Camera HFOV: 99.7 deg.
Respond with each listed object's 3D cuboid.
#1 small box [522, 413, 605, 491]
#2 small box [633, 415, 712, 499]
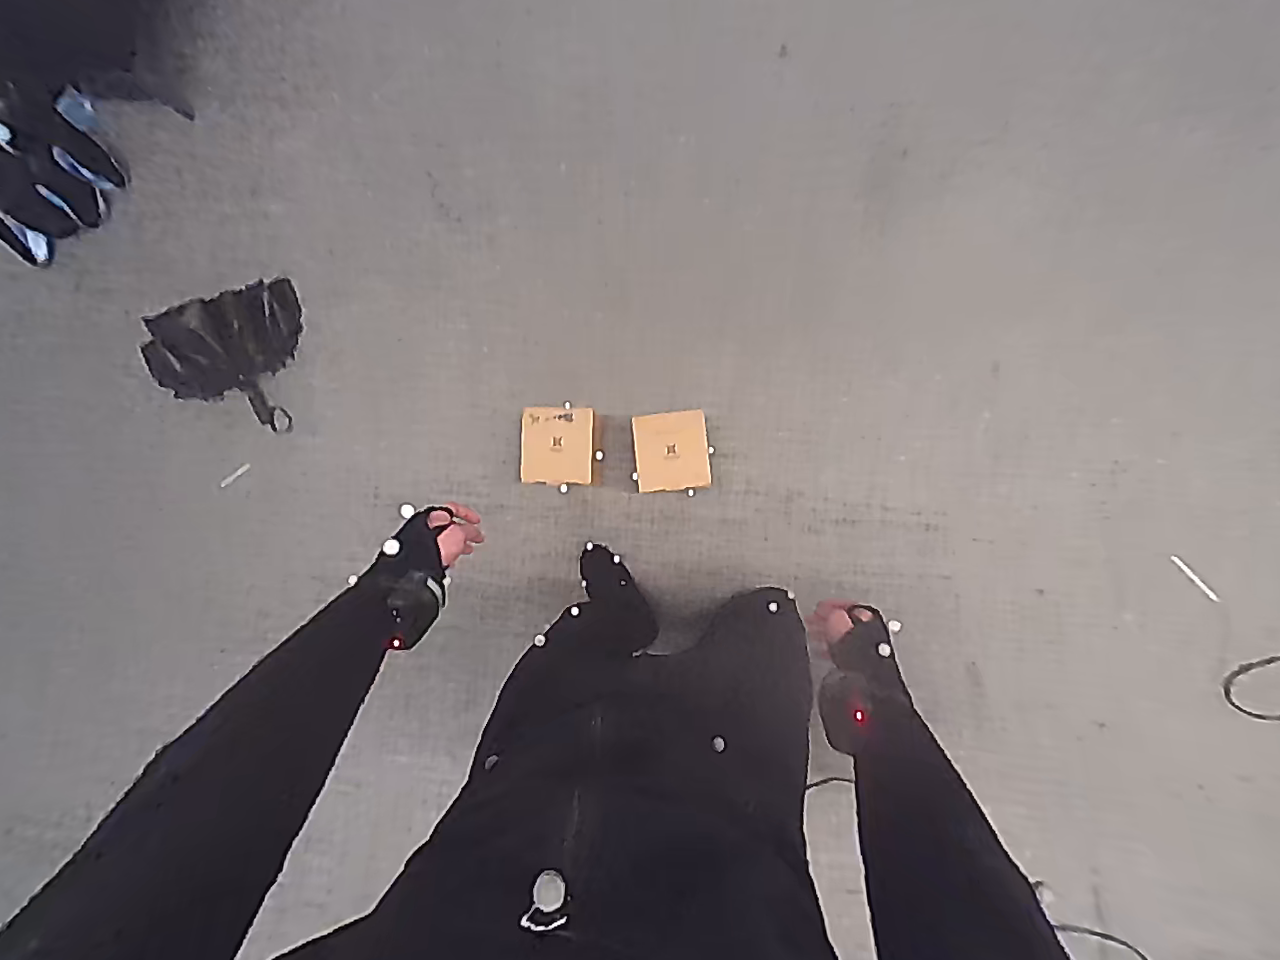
[{"bbox_3d":[-0.179,-0.062,1.302,0.168,0.176,0.179,1,88,4],"label":"small box"},{"bbox_3d":[0.077,-0.047,1.284,0.168,0.176,0.179,-6,85,3],"label":"small box"}]
